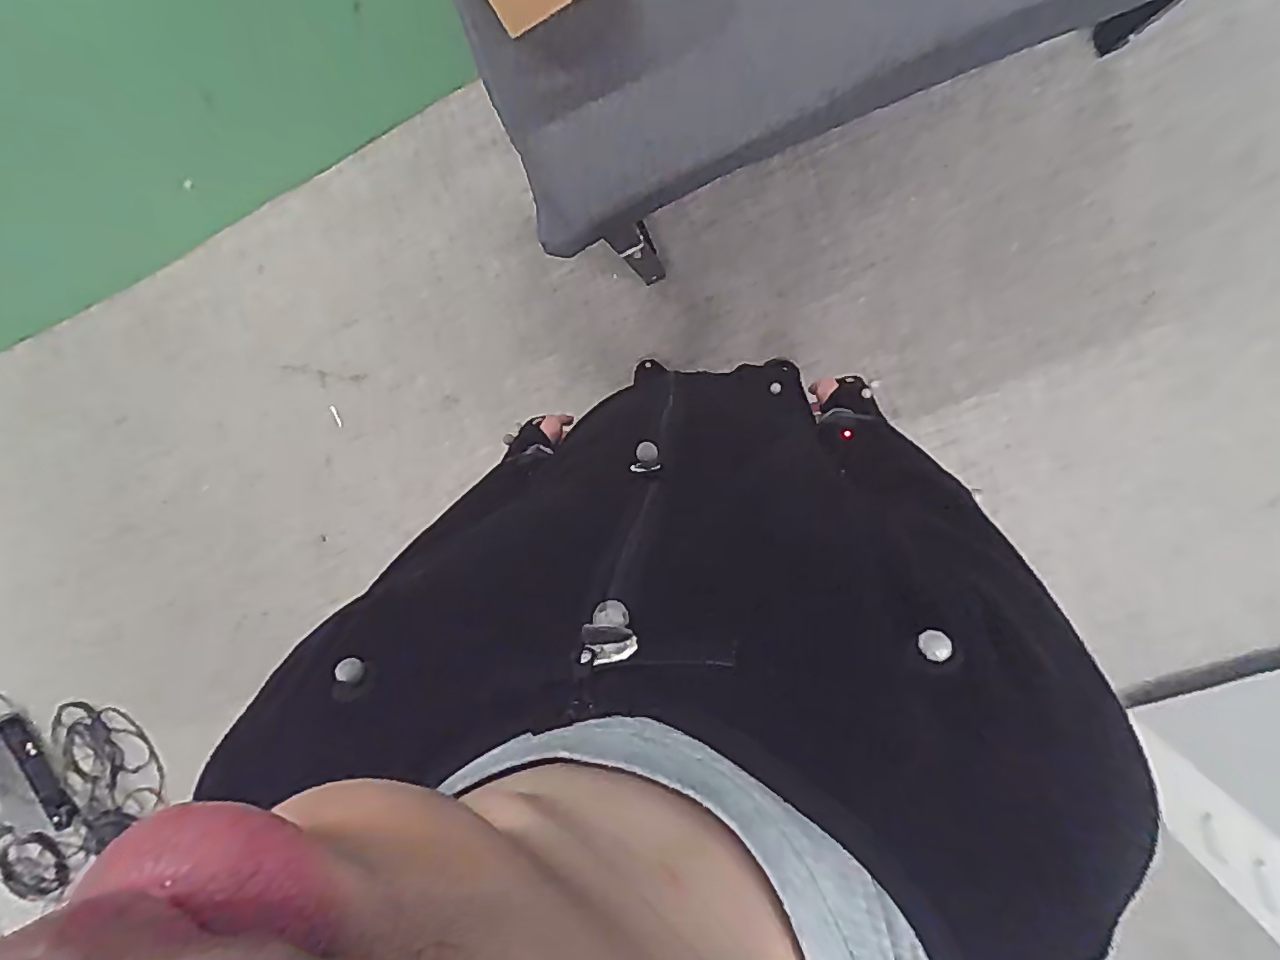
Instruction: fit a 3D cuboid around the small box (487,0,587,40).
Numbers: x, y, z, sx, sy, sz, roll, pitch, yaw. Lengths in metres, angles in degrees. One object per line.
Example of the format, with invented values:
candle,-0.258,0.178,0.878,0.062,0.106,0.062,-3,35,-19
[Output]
small box,-0.130,-0.662,0.609,0.179,0.176,0.168,-23,98,13
